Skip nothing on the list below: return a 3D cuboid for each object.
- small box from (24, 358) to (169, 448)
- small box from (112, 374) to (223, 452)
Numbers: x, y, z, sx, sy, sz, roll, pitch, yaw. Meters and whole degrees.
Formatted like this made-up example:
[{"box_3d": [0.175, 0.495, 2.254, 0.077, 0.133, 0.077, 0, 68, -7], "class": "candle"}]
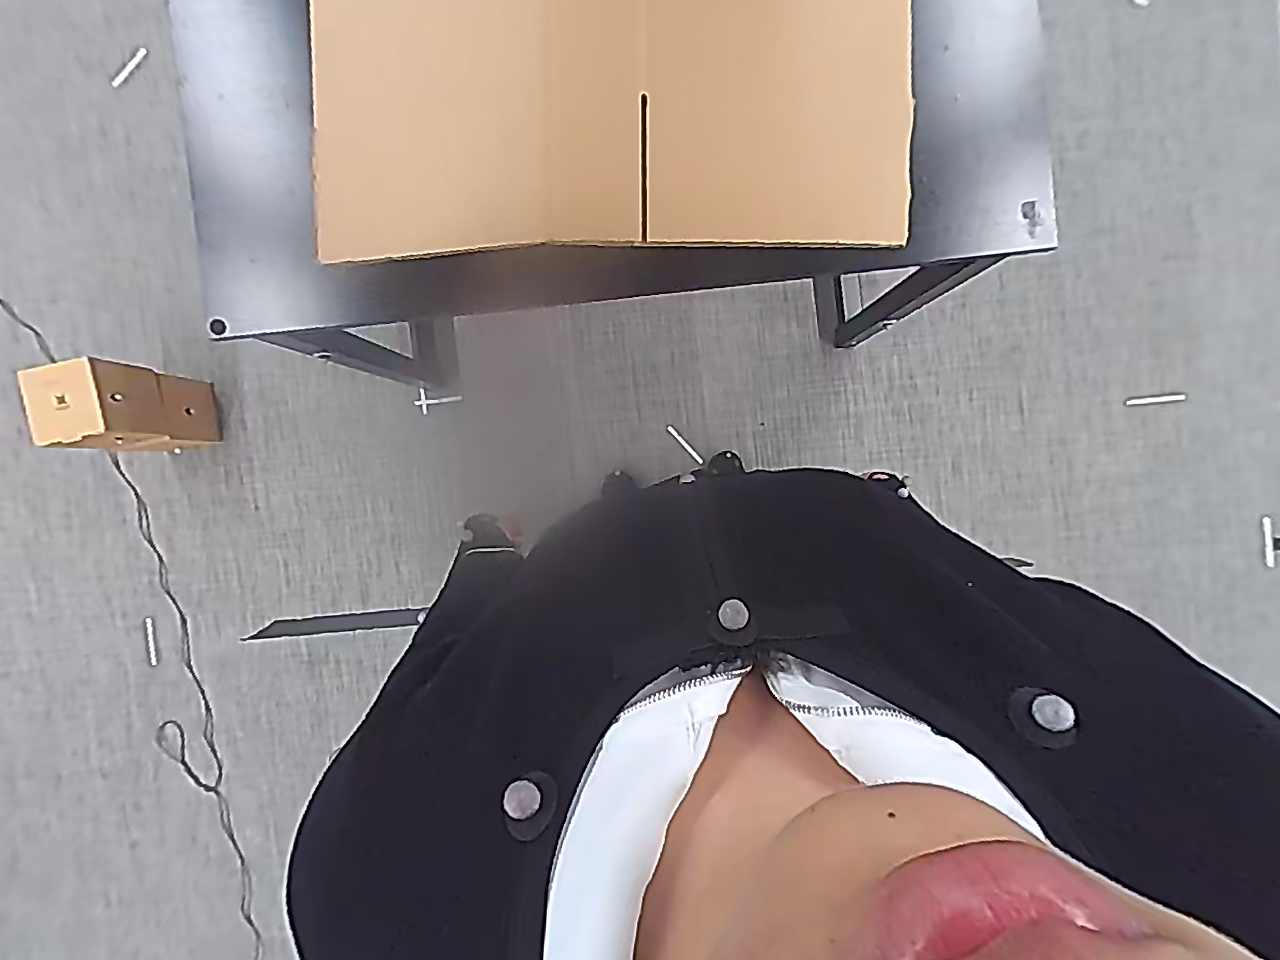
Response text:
[{"box_3d": [-1.278, -0.175, 1.287, 0.168, 0.176, 0.179, -12, 91, 1], "class": "small box"}, {"box_3d": [-1.273, -0.174, 1.450, 0.168, 0.176, 0.179, -10, 92, 2], "class": "small box"}]
